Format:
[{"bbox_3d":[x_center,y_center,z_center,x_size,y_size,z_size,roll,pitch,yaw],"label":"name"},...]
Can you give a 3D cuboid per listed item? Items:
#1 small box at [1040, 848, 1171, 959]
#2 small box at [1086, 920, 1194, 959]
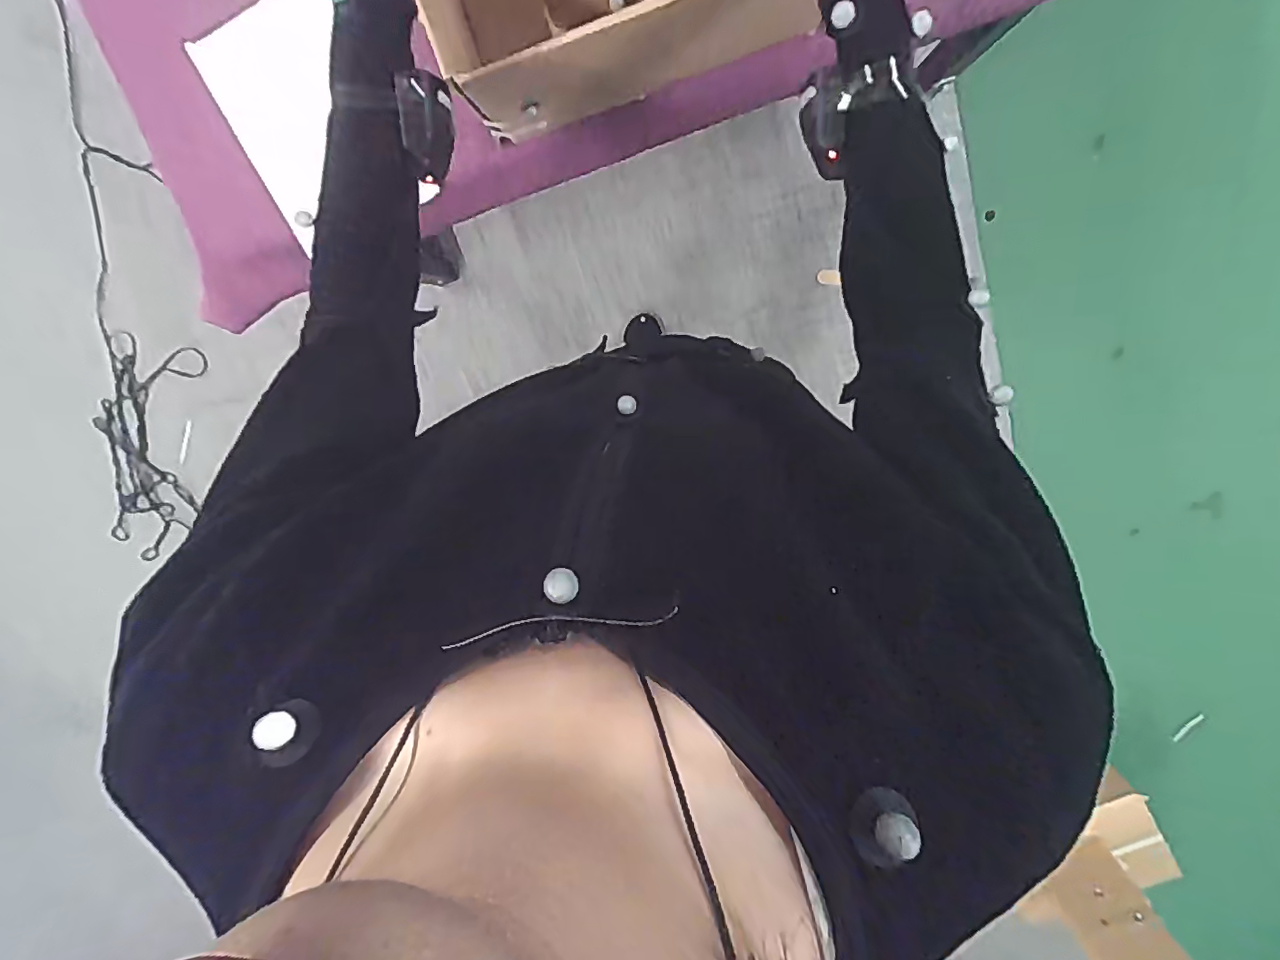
[{"bbox_3d":[1.136,1.048,1.319,0.179,0.176,0.168,-28,100,11],"label":"small box"},{"bbox_3d":[1.118,1.098,1.164,0.168,0.176,0.179,-26,101,11],"label":"small box"}]
